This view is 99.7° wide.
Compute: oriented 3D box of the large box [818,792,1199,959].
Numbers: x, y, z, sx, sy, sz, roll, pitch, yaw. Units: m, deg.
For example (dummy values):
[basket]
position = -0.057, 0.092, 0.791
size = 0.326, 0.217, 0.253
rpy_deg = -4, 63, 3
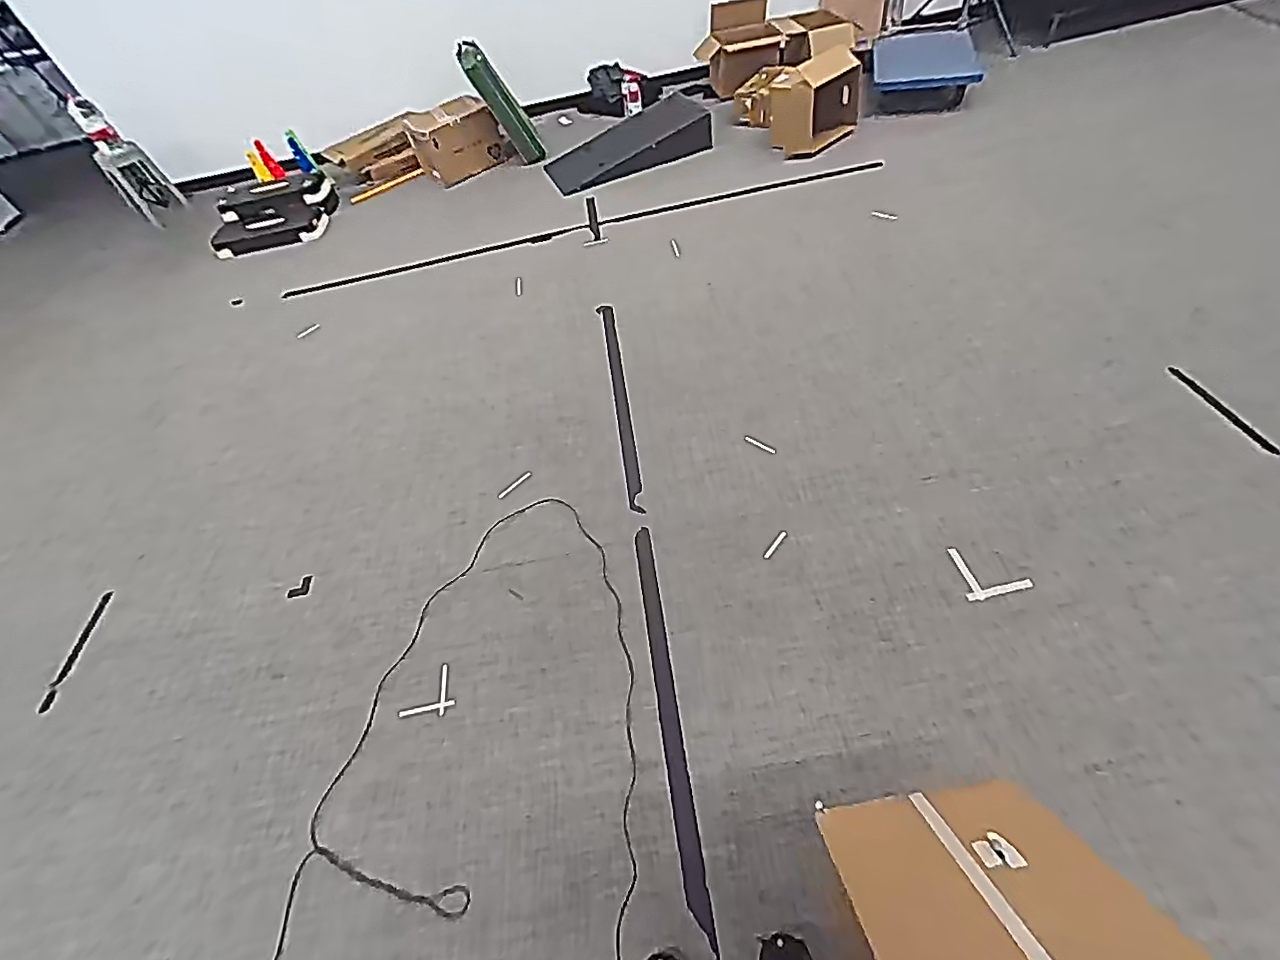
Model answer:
[large box]
position = 0.449, 0.660, 0.643
size = 0.320, 0.408, 0.320
rpy_deg = -9, 91, 2
